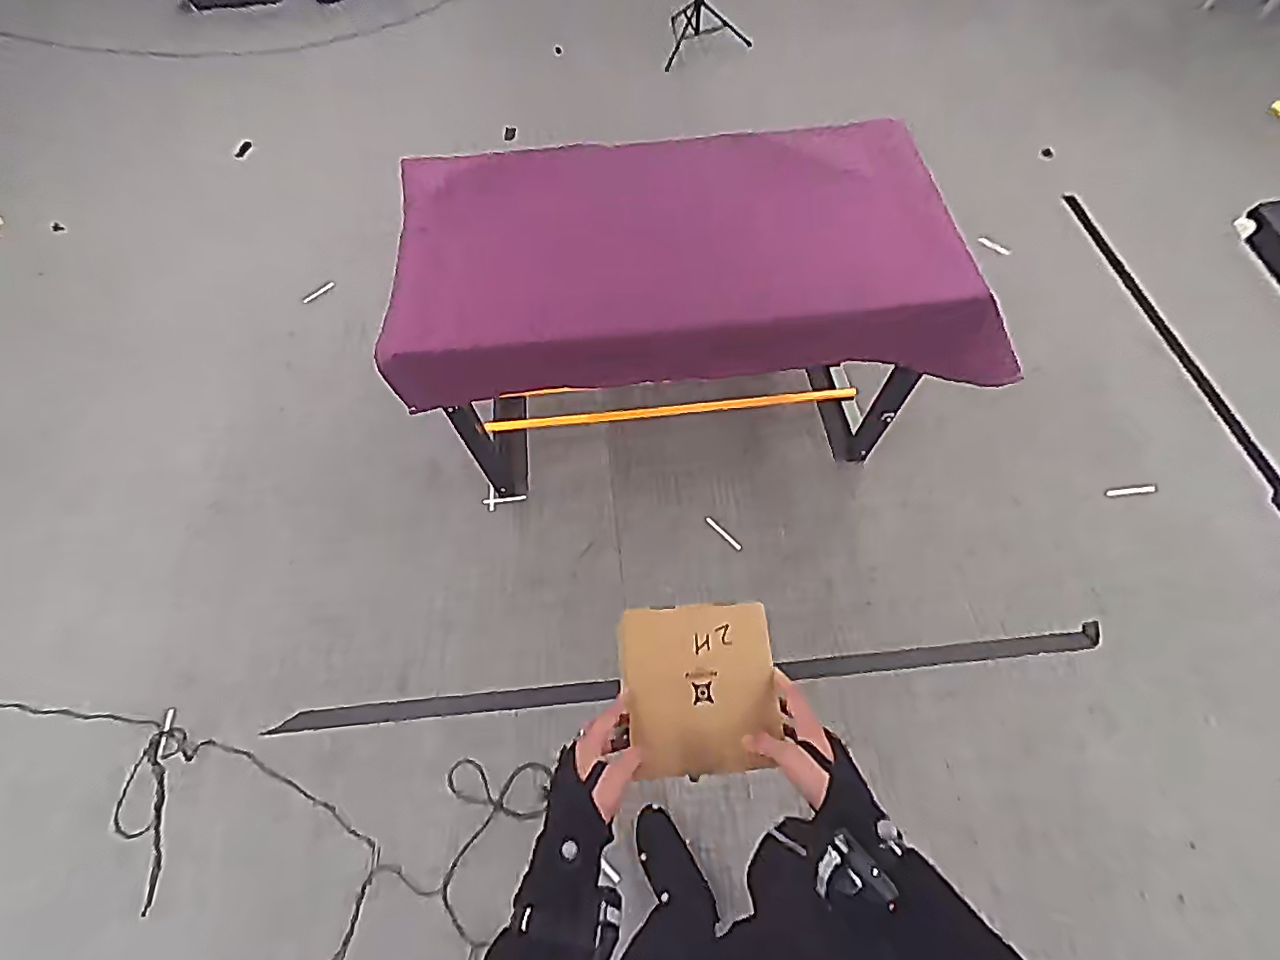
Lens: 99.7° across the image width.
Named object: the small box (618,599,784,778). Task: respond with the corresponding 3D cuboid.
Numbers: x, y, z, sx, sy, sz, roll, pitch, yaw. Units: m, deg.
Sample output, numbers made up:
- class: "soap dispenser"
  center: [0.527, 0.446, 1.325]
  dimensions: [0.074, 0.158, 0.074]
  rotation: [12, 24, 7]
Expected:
- class: "small box"
  center: [0.060, 0.250, 0.660]
  dimensions: [0.168, 0.176, 0.179]
  rotation: [-2, 67, -6]
